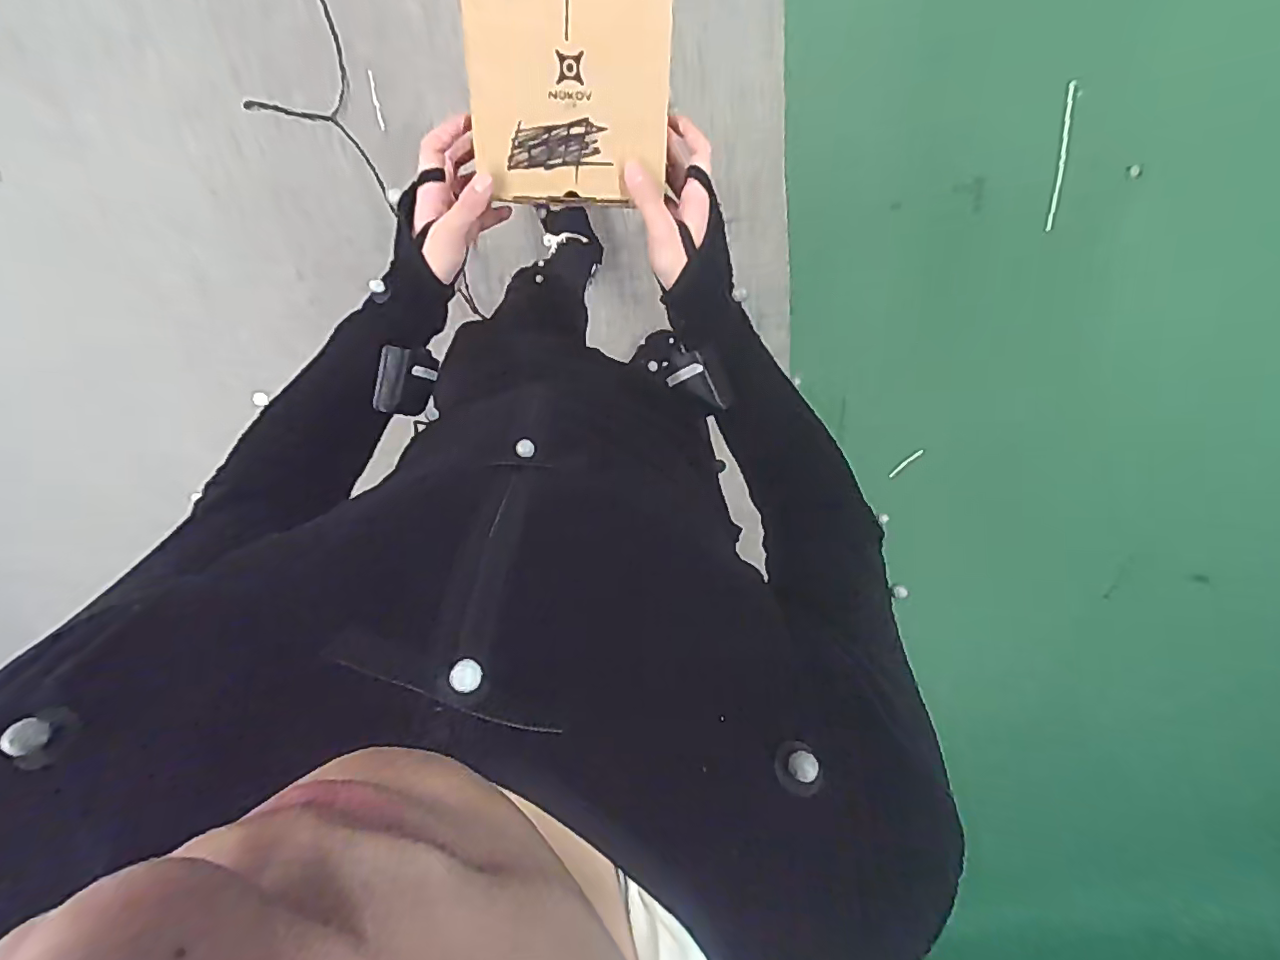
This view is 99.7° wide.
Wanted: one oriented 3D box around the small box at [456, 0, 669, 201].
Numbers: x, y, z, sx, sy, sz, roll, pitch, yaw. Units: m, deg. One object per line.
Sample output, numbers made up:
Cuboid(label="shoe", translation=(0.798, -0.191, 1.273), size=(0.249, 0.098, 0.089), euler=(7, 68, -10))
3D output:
Cuboid(label="small box", translation=(-0.060, -0.362, 0.504), size=(0.168, 0.176, 0.179), euler=(2, 115, 0))
